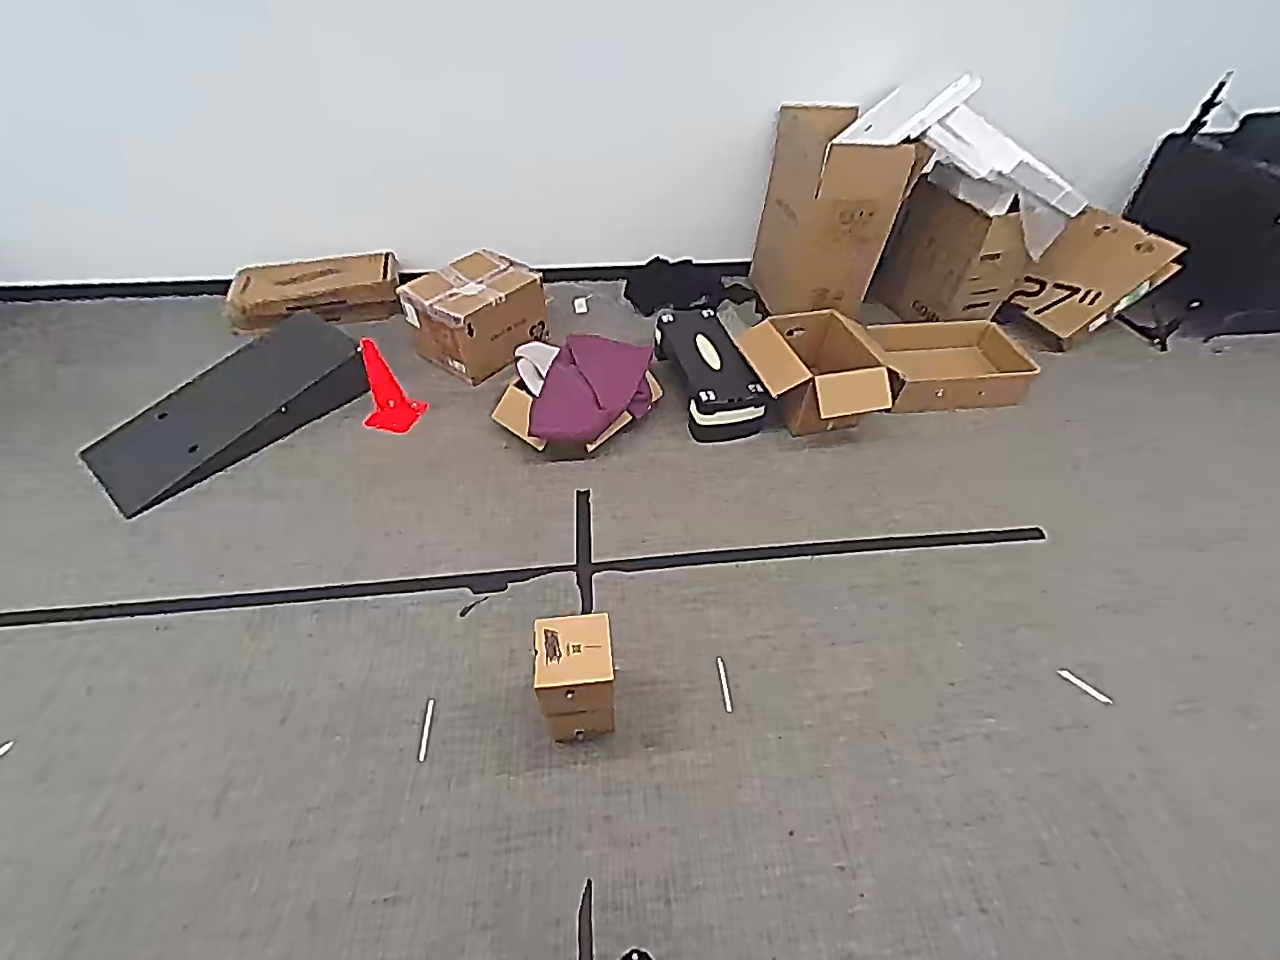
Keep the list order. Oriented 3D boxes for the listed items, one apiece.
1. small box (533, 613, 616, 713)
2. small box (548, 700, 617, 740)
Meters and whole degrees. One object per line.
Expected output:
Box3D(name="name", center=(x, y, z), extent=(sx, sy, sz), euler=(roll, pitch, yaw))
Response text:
Box3D(name="small box", center=(-0.151, 0.435, 1.277), extent=(0.179, 0.176, 0.168), euler=(-4, 48, -5))
Box3D(name="small box", center=(-0.153, 0.547, 1.399), extent=(0.168, 0.176, 0.179), euler=(-8, 50, -7))
